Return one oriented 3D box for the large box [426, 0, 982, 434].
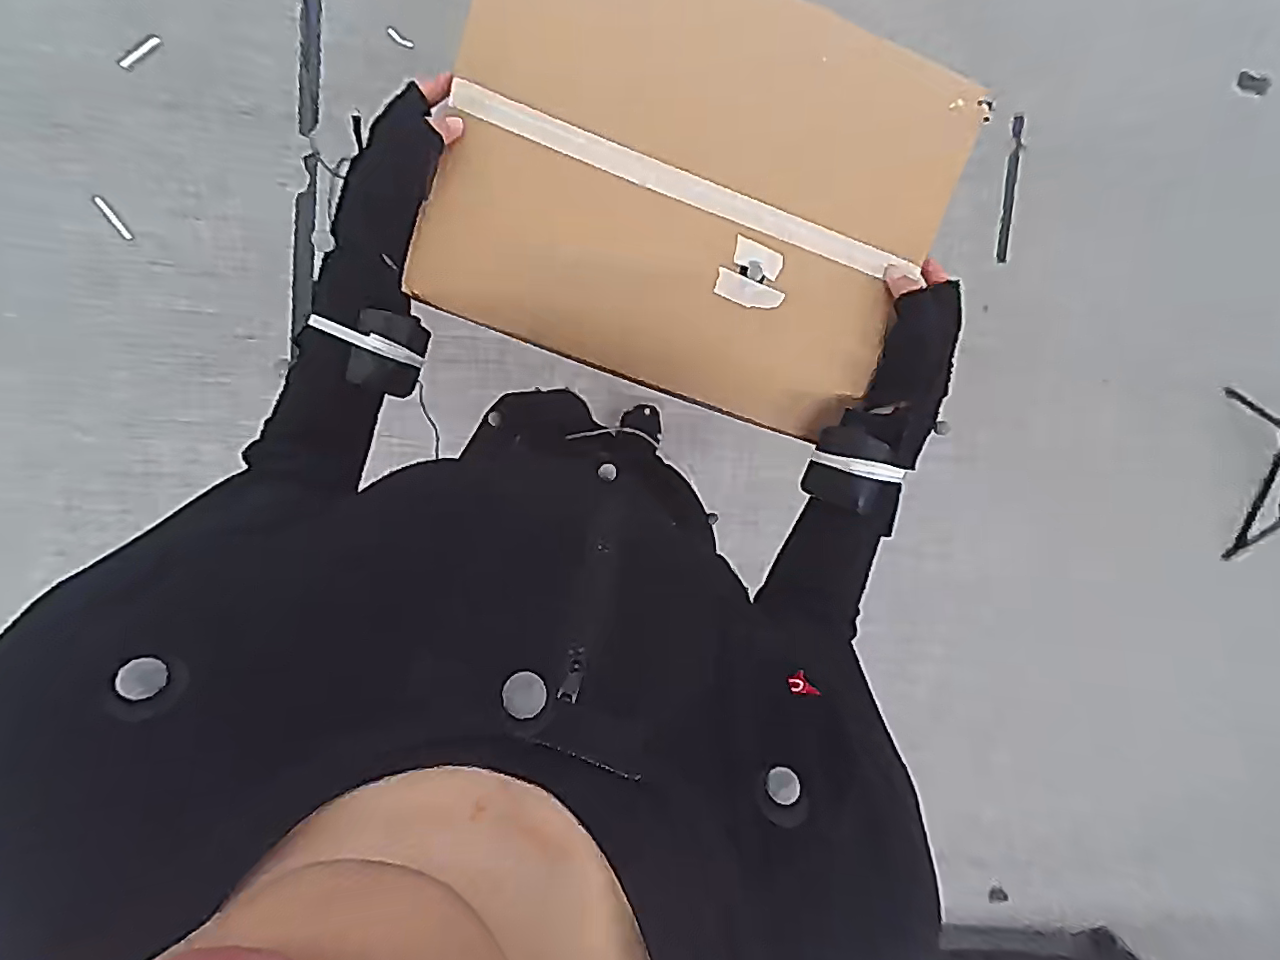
[{"bbox_3d":[0.042,-0.272,0.596,0.408,0.320,0.320,19,101,-8],"label":"large box"}]
